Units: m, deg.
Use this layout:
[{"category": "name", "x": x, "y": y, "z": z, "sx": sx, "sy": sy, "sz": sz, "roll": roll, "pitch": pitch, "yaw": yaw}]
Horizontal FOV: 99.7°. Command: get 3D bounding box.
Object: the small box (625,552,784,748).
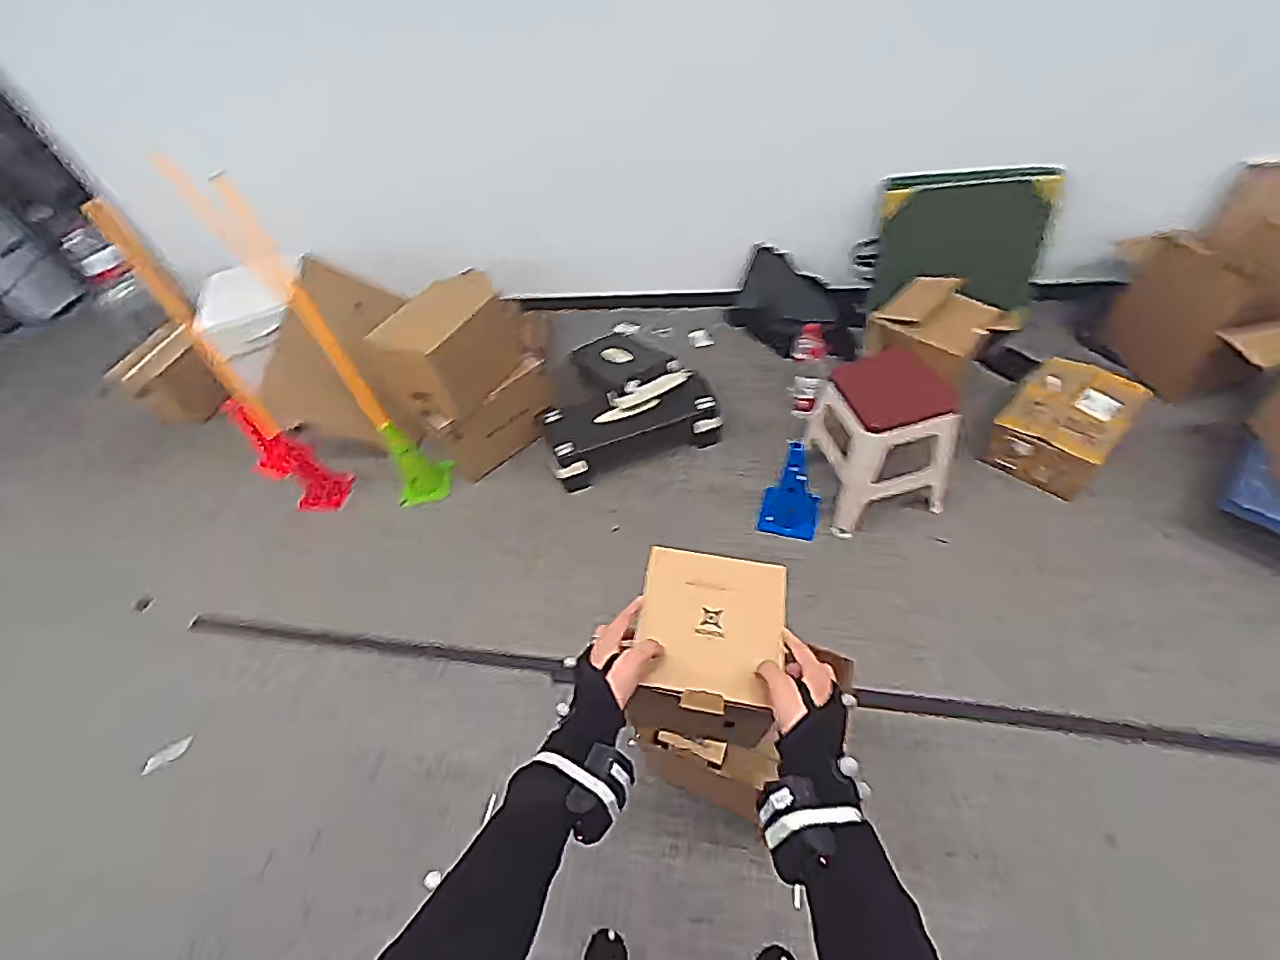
[{"category": "small box", "x": 0.080, "y": 0.218, "z": 0.681, "sx": 0.168, "sy": 0.176, "sz": 0.179, "roll": 9, "pitch": 52, "yaw": 7}]
